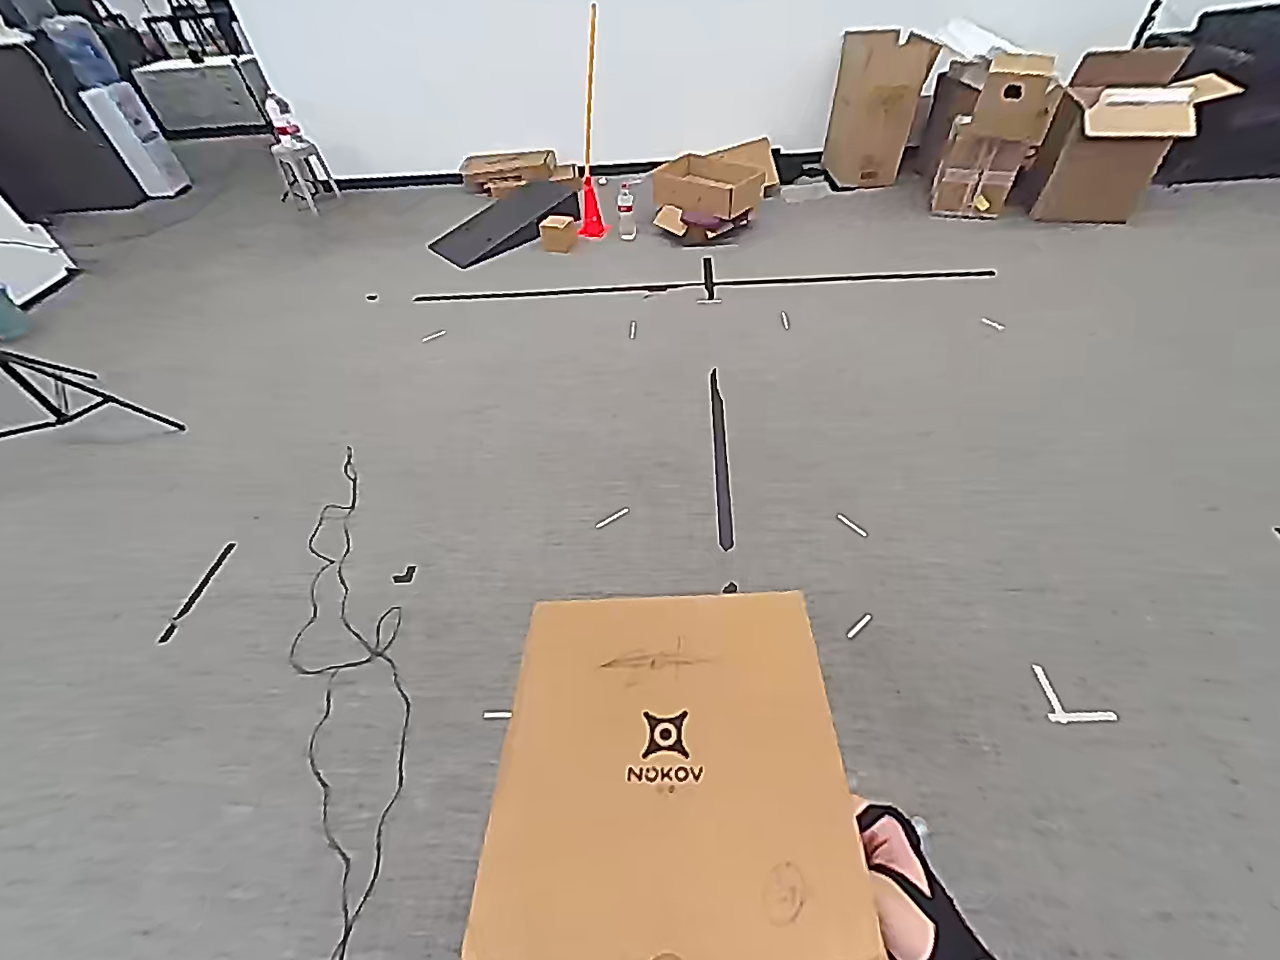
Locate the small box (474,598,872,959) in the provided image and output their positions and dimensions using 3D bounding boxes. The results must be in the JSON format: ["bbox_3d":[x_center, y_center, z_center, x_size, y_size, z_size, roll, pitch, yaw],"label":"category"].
[{"bbox_3d":[0.022,0.196,0.329,0.168,0.176,0.179,-4,41,4],"label":"small box"}]
